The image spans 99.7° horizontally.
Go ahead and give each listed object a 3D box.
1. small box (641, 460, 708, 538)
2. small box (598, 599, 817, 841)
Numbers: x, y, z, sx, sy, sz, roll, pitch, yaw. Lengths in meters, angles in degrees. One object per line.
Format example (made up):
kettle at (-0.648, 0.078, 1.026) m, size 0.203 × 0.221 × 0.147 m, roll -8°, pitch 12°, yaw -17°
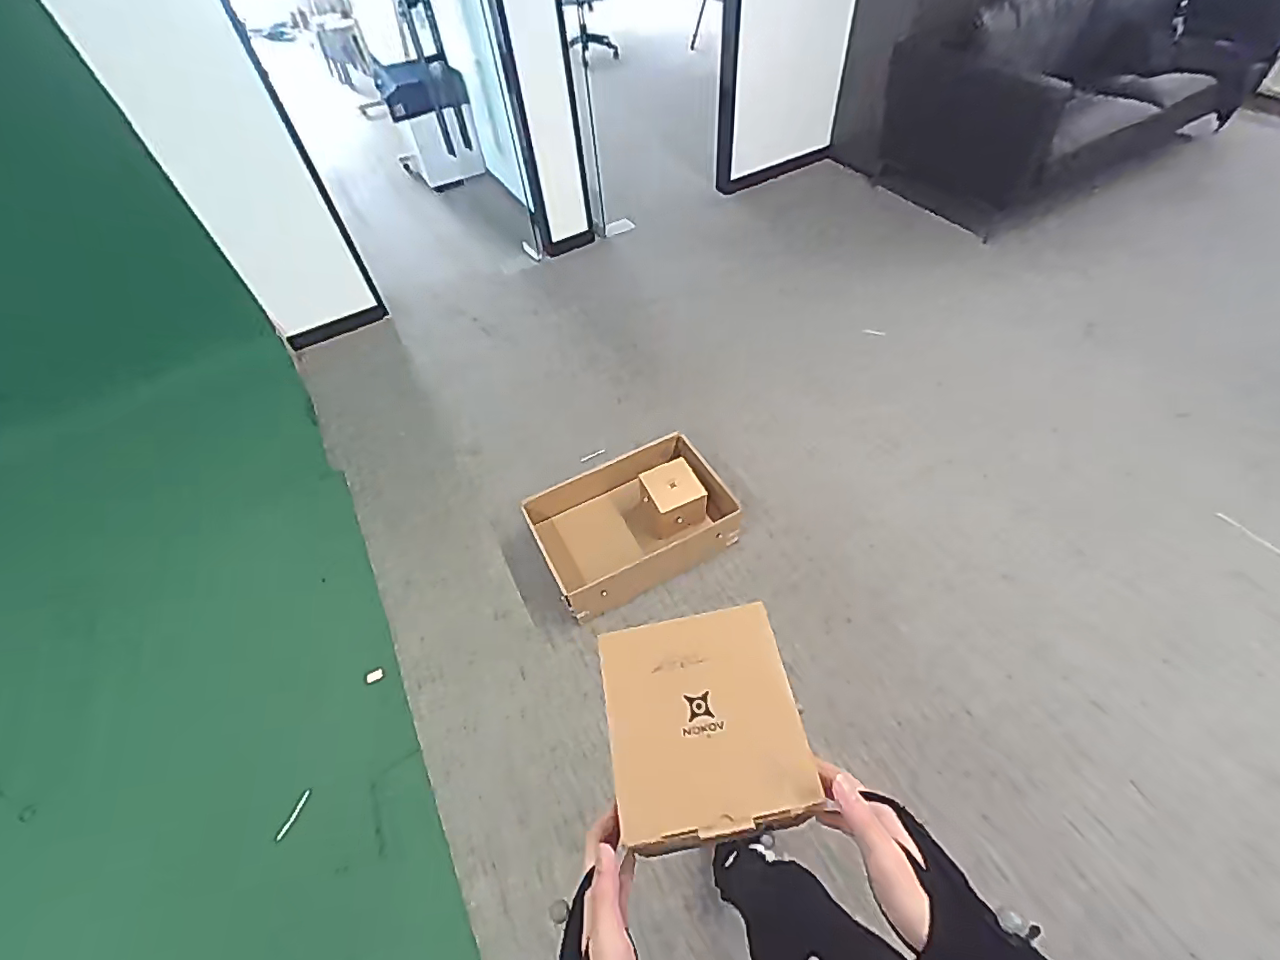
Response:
small box at (0.117, 0.071, 1.800) m, size 0.168 × 0.176 × 0.179 m, roll -22°, pitch 53°, yaw -12°
small box at (0.059, 0.244, 0.535) m, size 0.168 × 0.176 × 0.179 m, roll -10°, pitch 52°, yaw 0°
